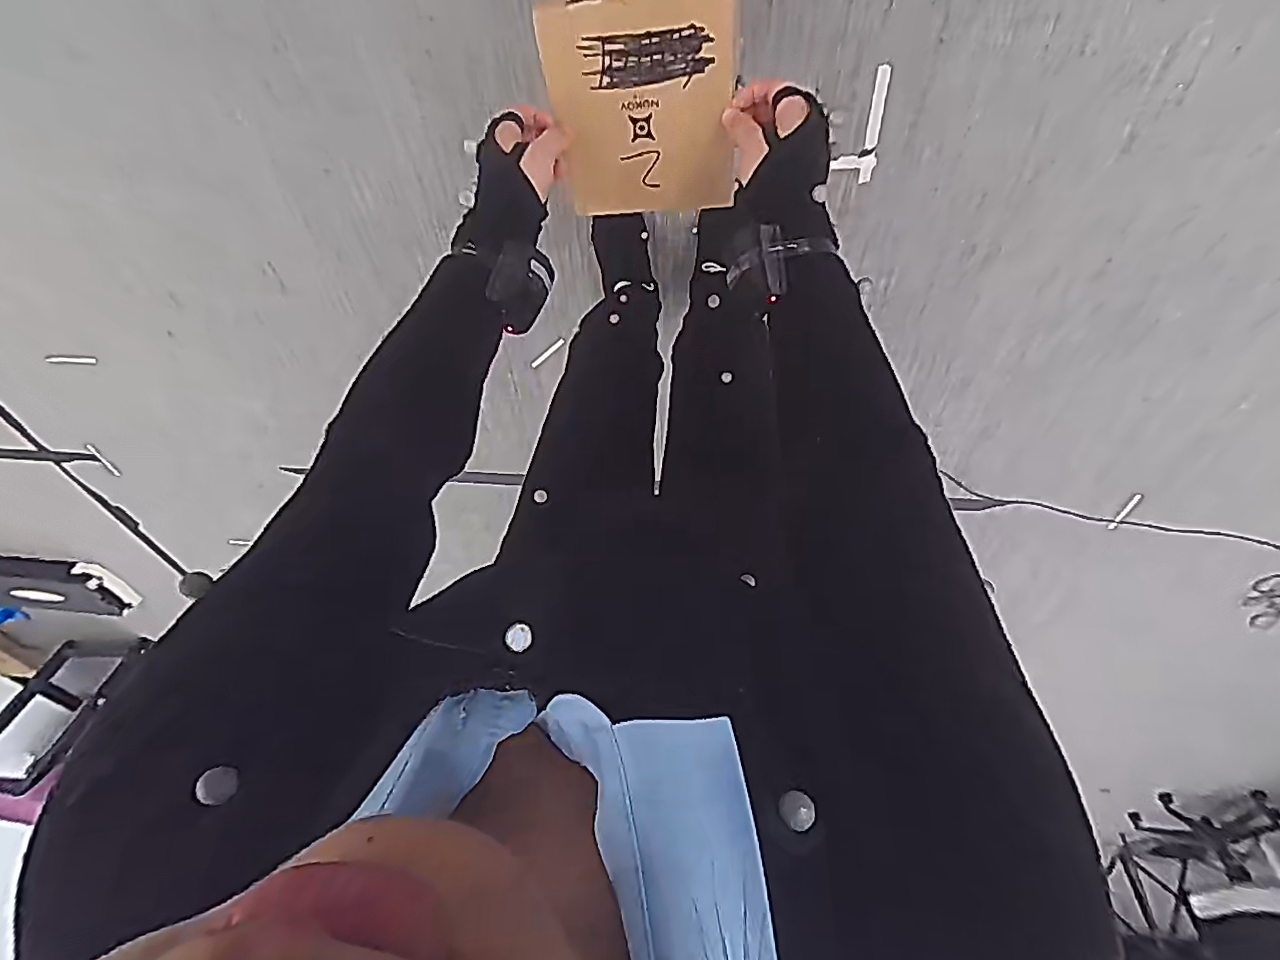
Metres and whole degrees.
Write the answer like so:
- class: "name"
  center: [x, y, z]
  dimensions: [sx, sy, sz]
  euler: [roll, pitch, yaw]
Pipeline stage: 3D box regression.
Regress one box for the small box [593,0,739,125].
- class: "small box"
  center: [0.035, -0.564, 0.674]
  dimensions: [0.168, 0.176, 0.179]
  euler: [3, 135, 5]
